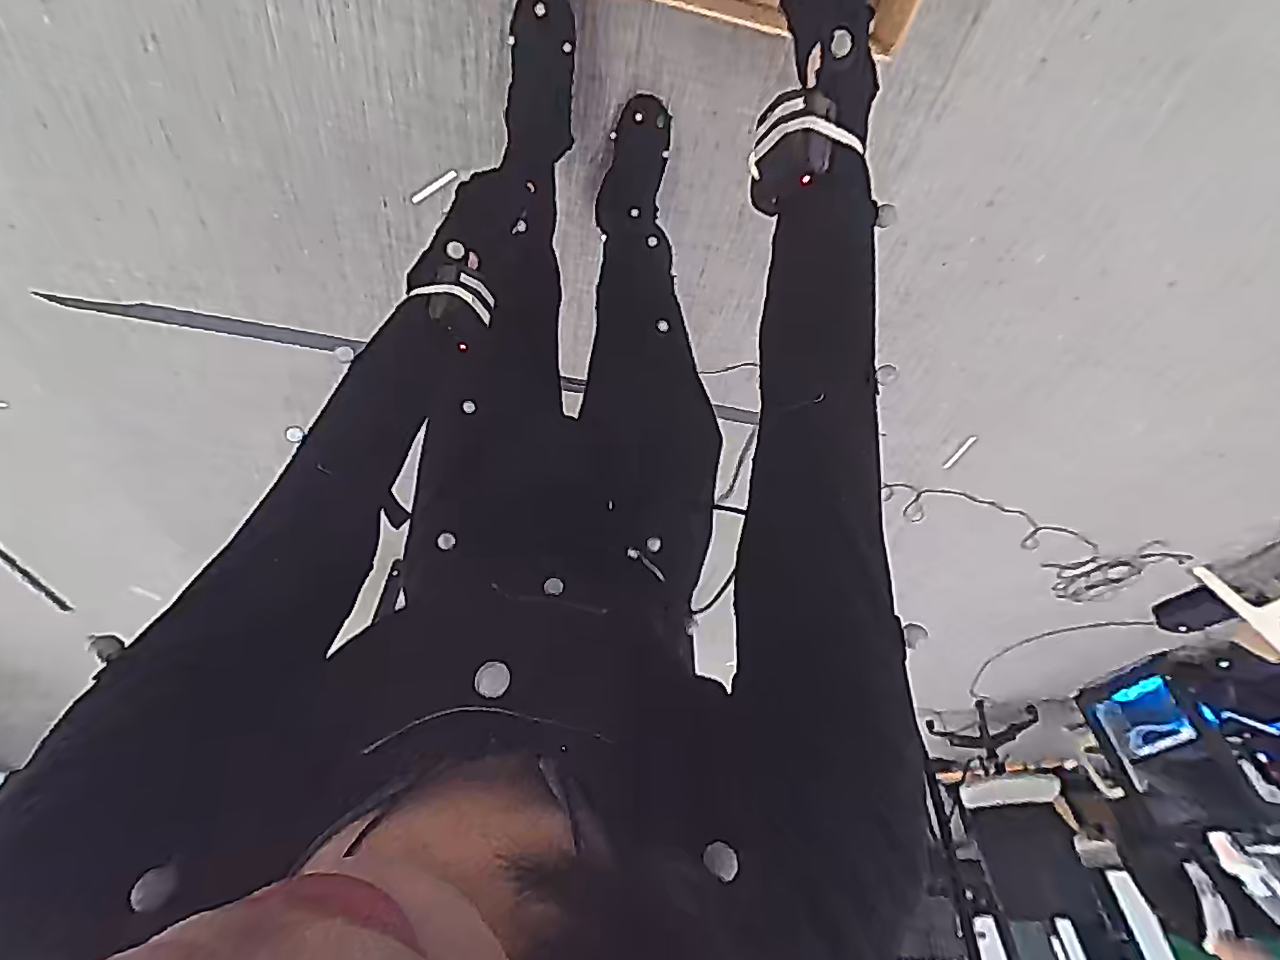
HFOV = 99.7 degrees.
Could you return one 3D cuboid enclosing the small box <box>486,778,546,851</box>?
[{"bbox_3d":[-0.399,1.088,1.756,0.168,0.176,0.179,5,137,-7],"label":"small box"}]
